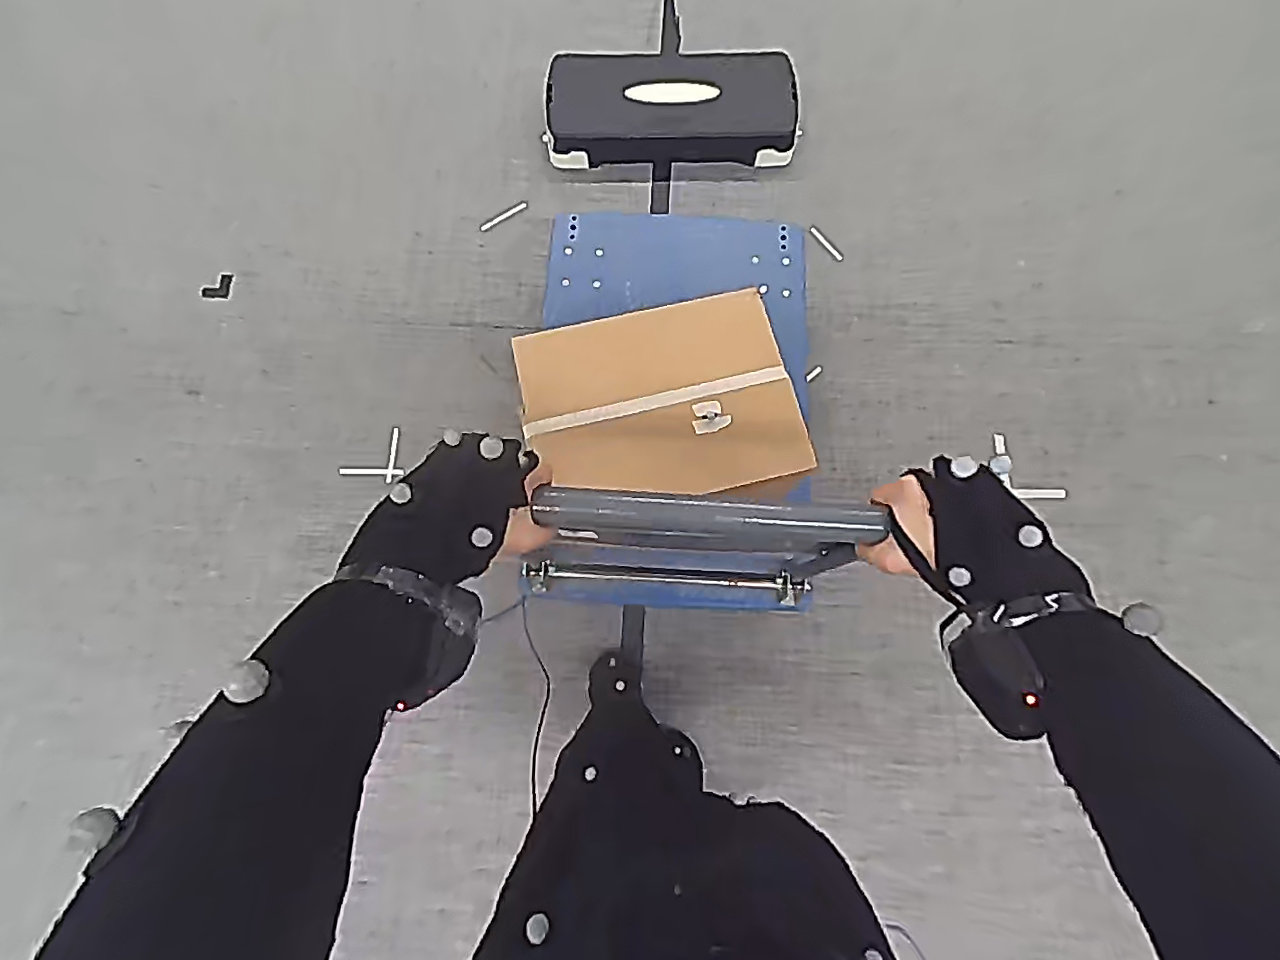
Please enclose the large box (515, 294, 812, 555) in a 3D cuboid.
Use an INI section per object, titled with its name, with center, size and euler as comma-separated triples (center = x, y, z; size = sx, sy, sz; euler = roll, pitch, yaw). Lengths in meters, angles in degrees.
[large box]
center = 0.026, -0.077, 0.970
size = 0.408, 0.320, 0.320
euler = -13, 77, -5
